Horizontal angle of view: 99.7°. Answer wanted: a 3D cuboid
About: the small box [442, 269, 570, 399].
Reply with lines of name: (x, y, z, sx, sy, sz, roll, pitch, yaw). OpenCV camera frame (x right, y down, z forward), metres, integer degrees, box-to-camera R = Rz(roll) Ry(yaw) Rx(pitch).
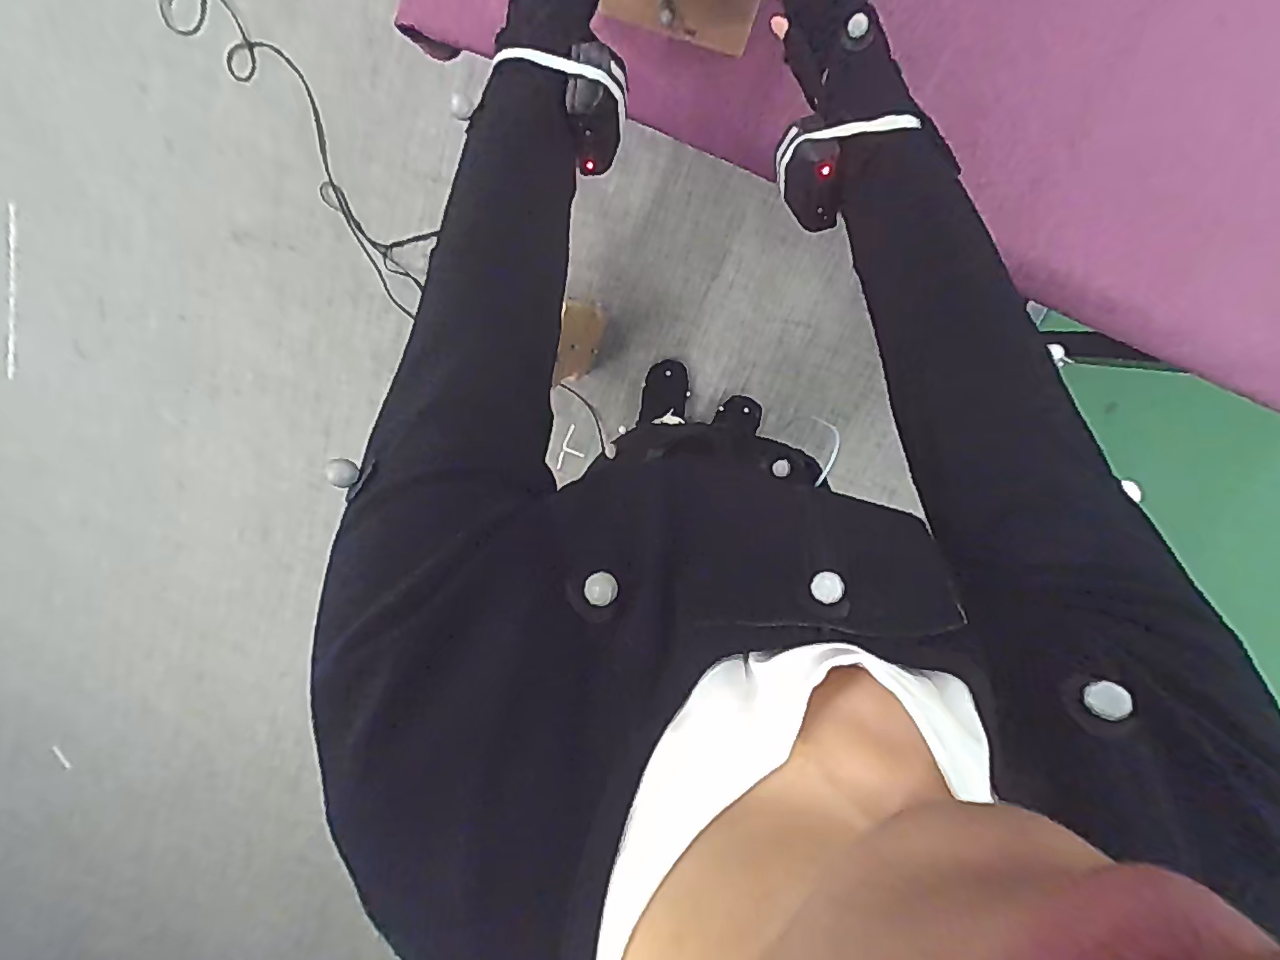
small box: (-0.239, -0.272, 1.006, 0.168, 0.176, 0.179, 22, 108, -4)

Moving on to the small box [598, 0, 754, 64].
small box: (0.050, -0.546, 0.503, 0.168, 0.176, 0.179, 16, 104, -3)
